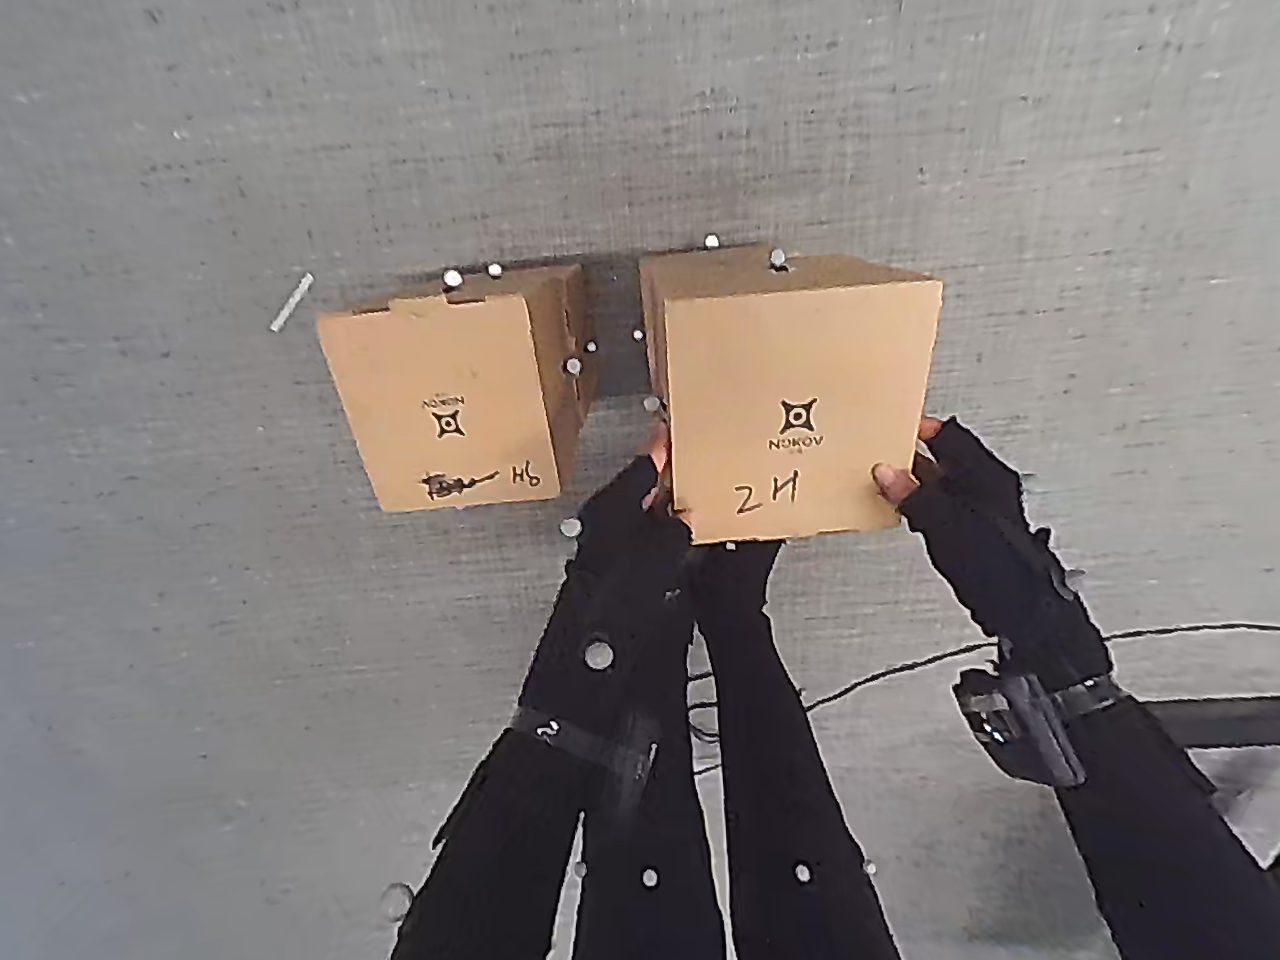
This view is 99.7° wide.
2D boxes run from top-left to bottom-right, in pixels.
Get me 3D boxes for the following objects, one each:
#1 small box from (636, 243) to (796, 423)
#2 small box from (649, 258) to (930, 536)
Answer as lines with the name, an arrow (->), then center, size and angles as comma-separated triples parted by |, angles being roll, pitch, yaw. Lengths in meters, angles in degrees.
small box -> 0.086, -0.184, 0.659 | 0.168, 0.176, 0.179 | -5, 115, 2
small box -> 0.096, -0.077, 0.432 | 0.168, 0.176, 0.179 | -4, 118, 0
